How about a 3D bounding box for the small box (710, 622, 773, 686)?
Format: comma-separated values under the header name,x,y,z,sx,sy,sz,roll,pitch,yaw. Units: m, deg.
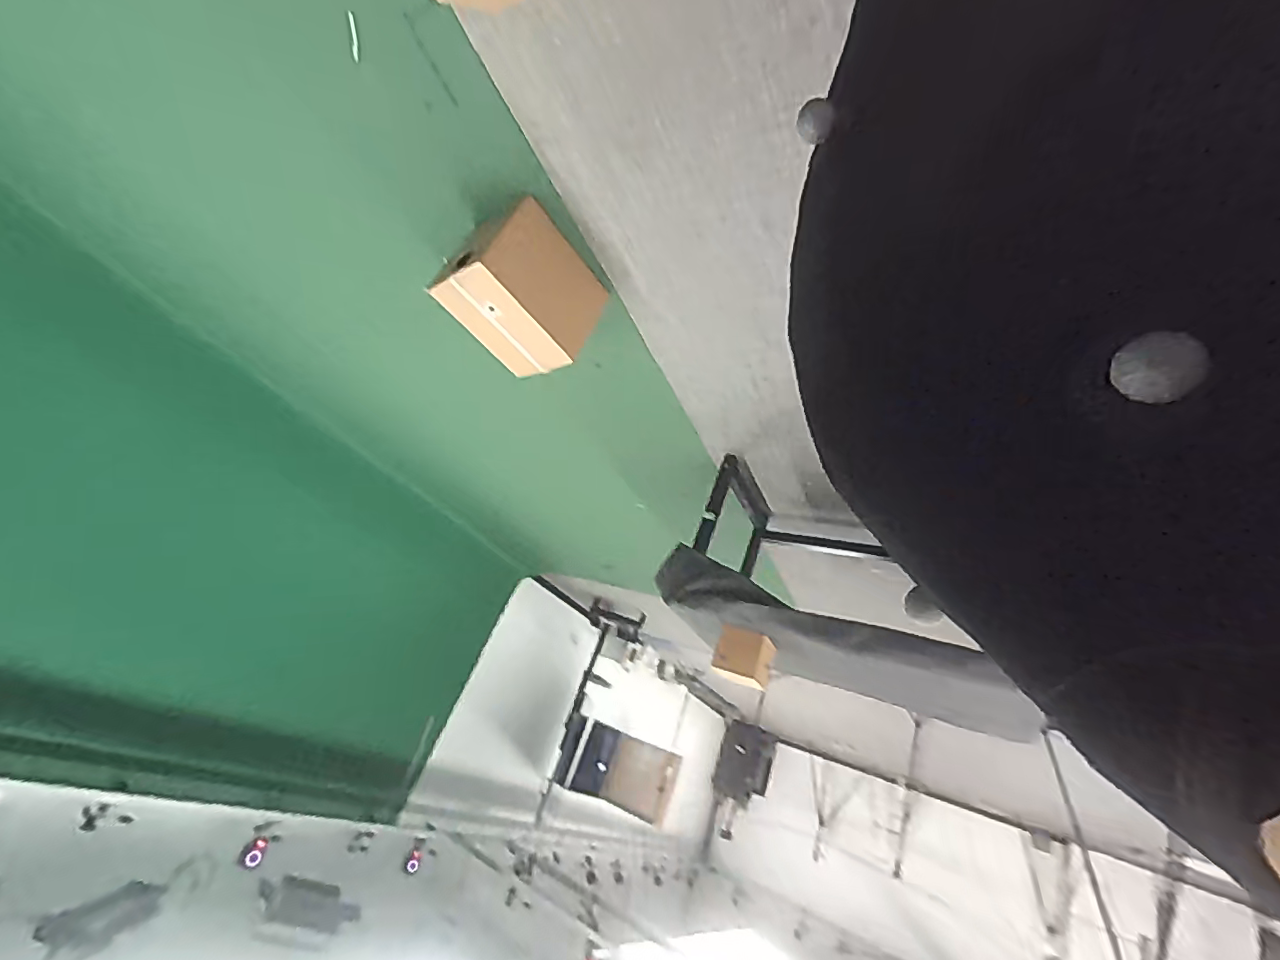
name,x,y,z,sx,sy,sz,roll,pitch,yaw
small box,0.388,0.649,2.027,0.179,0.176,0.168,7,151,32
